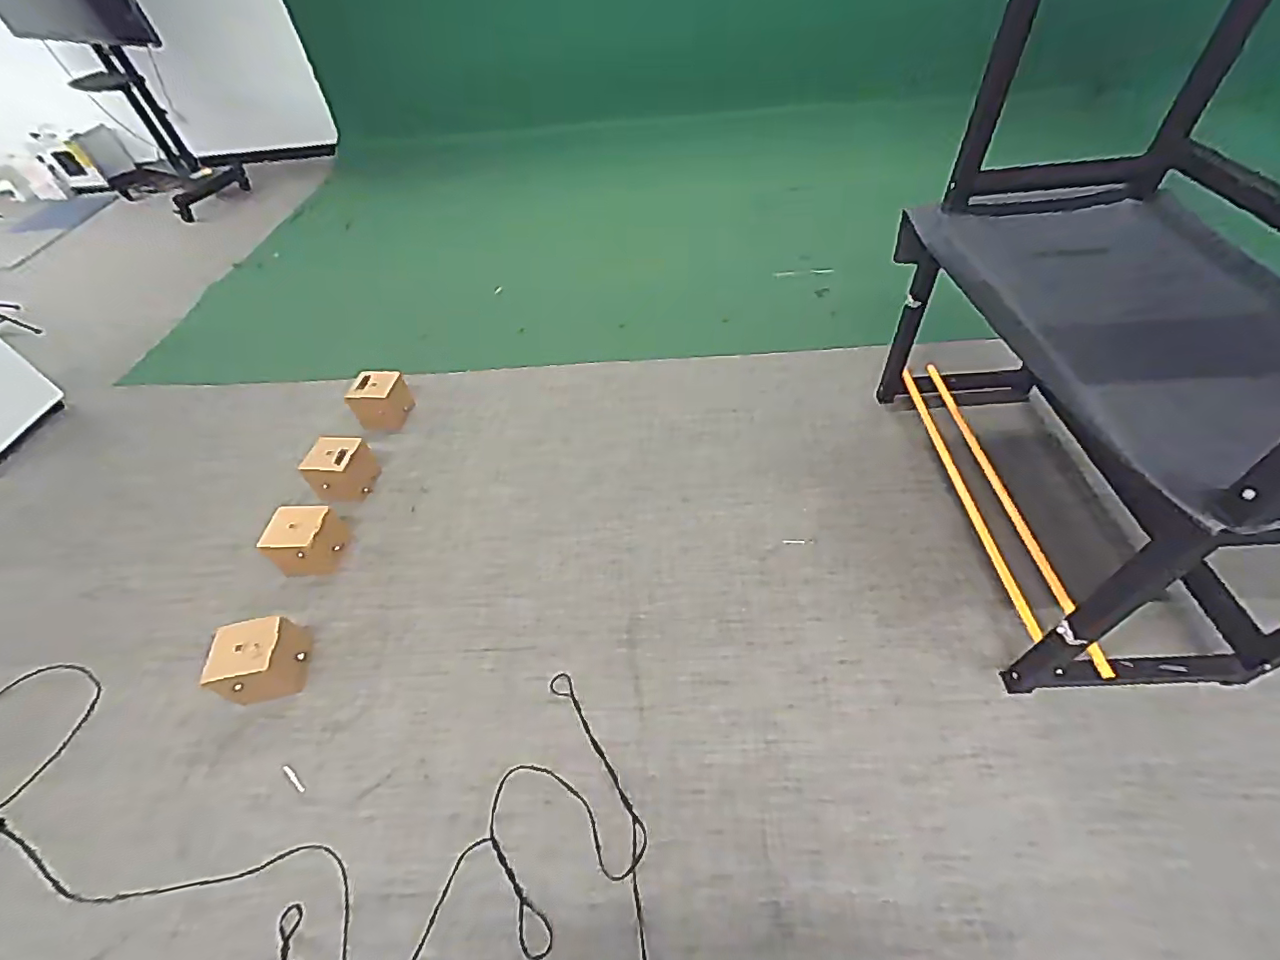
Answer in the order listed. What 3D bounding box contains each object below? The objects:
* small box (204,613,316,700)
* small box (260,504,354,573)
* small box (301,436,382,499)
[{"bbox_3d":[-1.061,0.502,1.526,0.179,0.176,0.168,-11,50,-3],"label":"small box"},{"bbox_3d":[-1.093,0.197,1.792,0.179,0.176,0.168,-2,50,4],"label":"small box"},{"bbox_3d":[-1.092,-0.042,1.997,0.179,0.176,0.168,2,49,9],"label":"small box"}]
